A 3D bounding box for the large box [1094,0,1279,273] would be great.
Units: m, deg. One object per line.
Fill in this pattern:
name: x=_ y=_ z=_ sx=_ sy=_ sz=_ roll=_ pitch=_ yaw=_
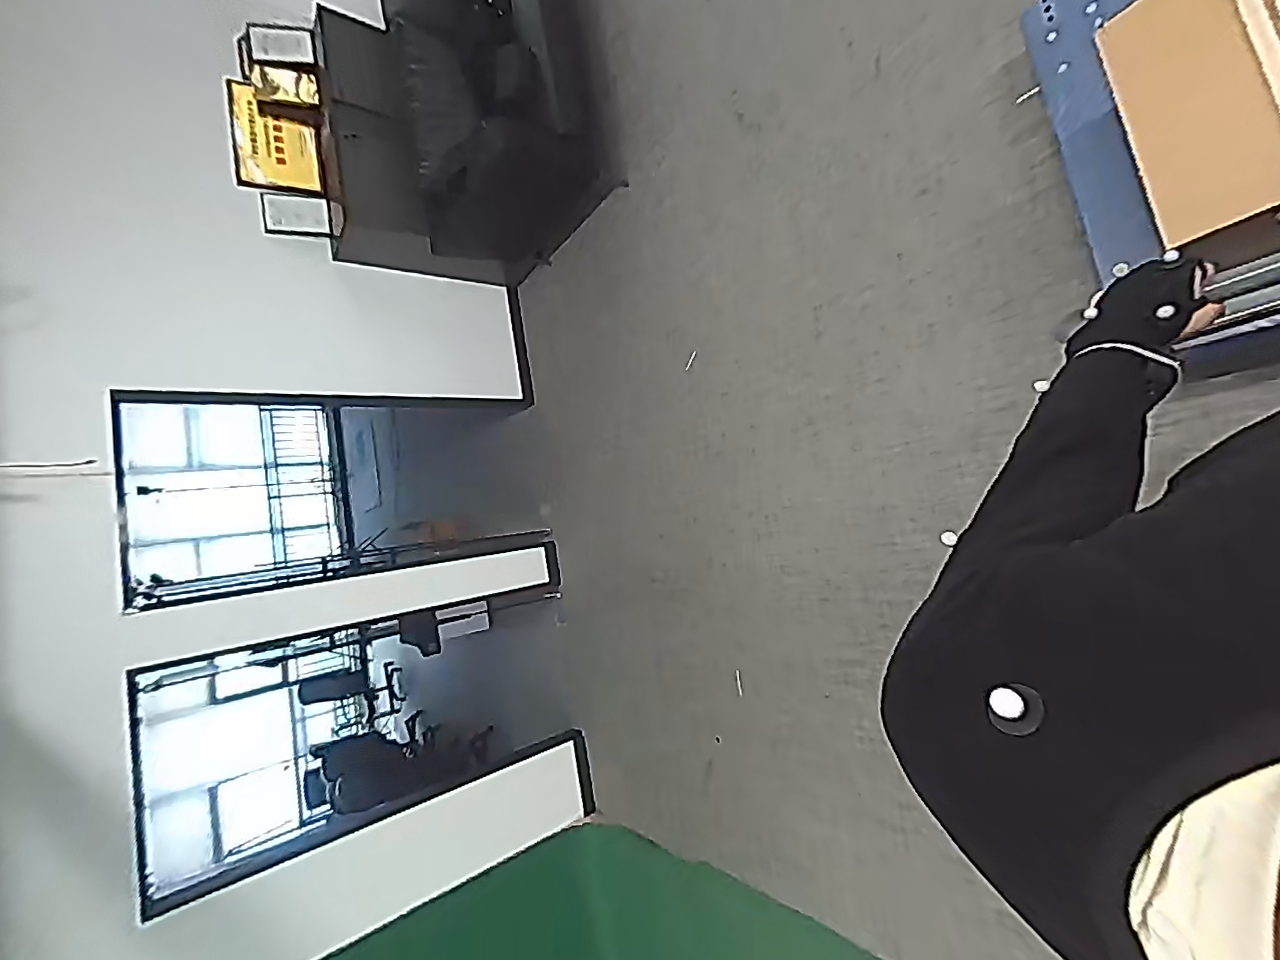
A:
large box: x=1.017 y=-0.607 z=0.860 sx=0.320 sy=0.320 sz=0.408 roll=-21 pitch=77 yaw=52
